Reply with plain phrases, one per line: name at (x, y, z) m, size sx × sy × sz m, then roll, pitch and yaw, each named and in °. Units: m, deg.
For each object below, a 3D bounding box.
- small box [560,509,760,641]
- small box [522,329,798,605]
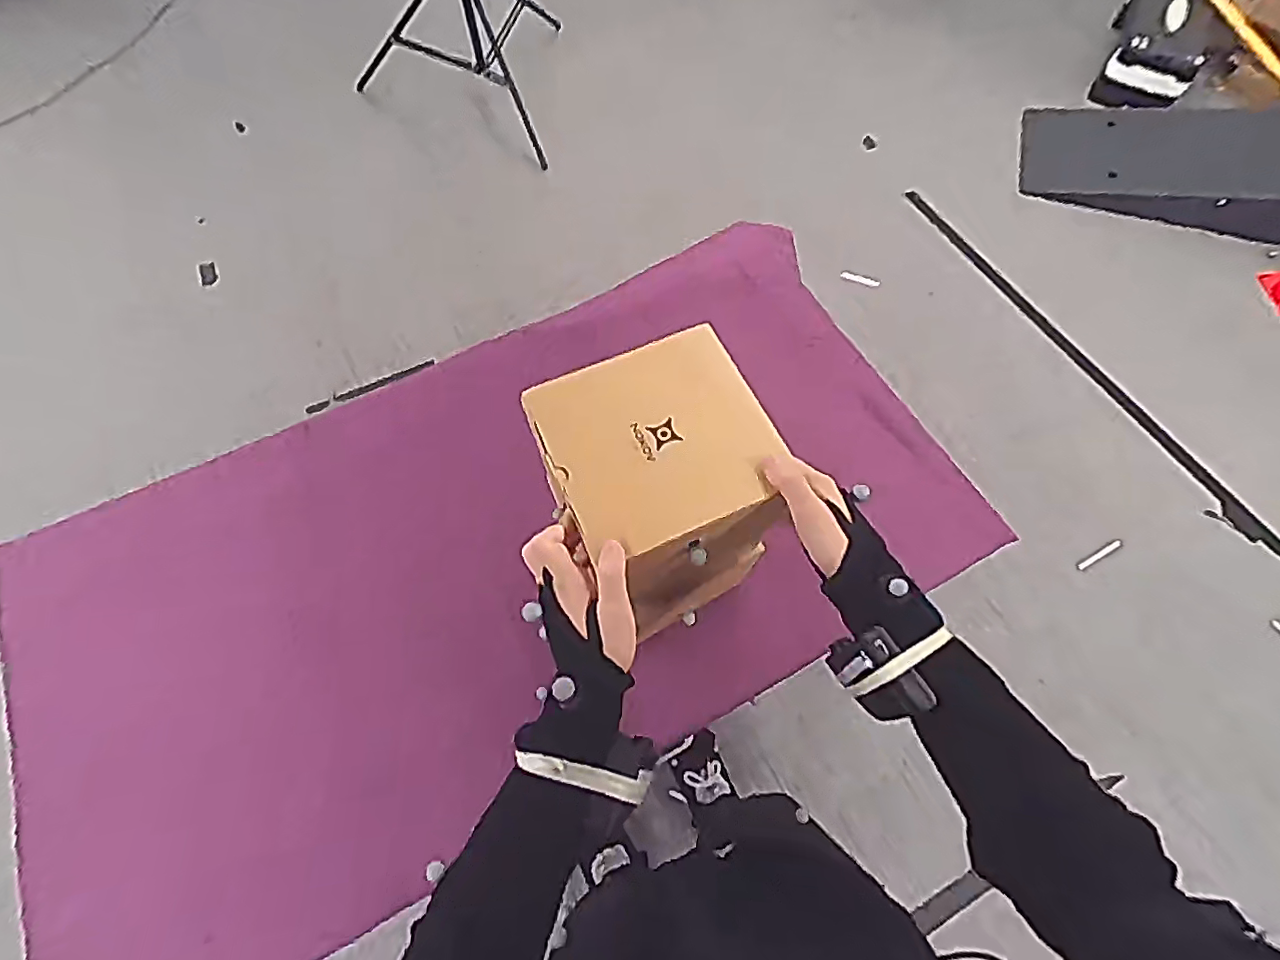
small box at (0.013, 0.072, 0.647) m, size 0.168 × 0.176 × 0.179 m, roll -27°, pitch 70°, yaw -11°
small box at (0.012, -0.001, 0.502) m, size 0.179 × 0.176 × 0.168 m, roll -23°, pitch 69°, yaw -9°
